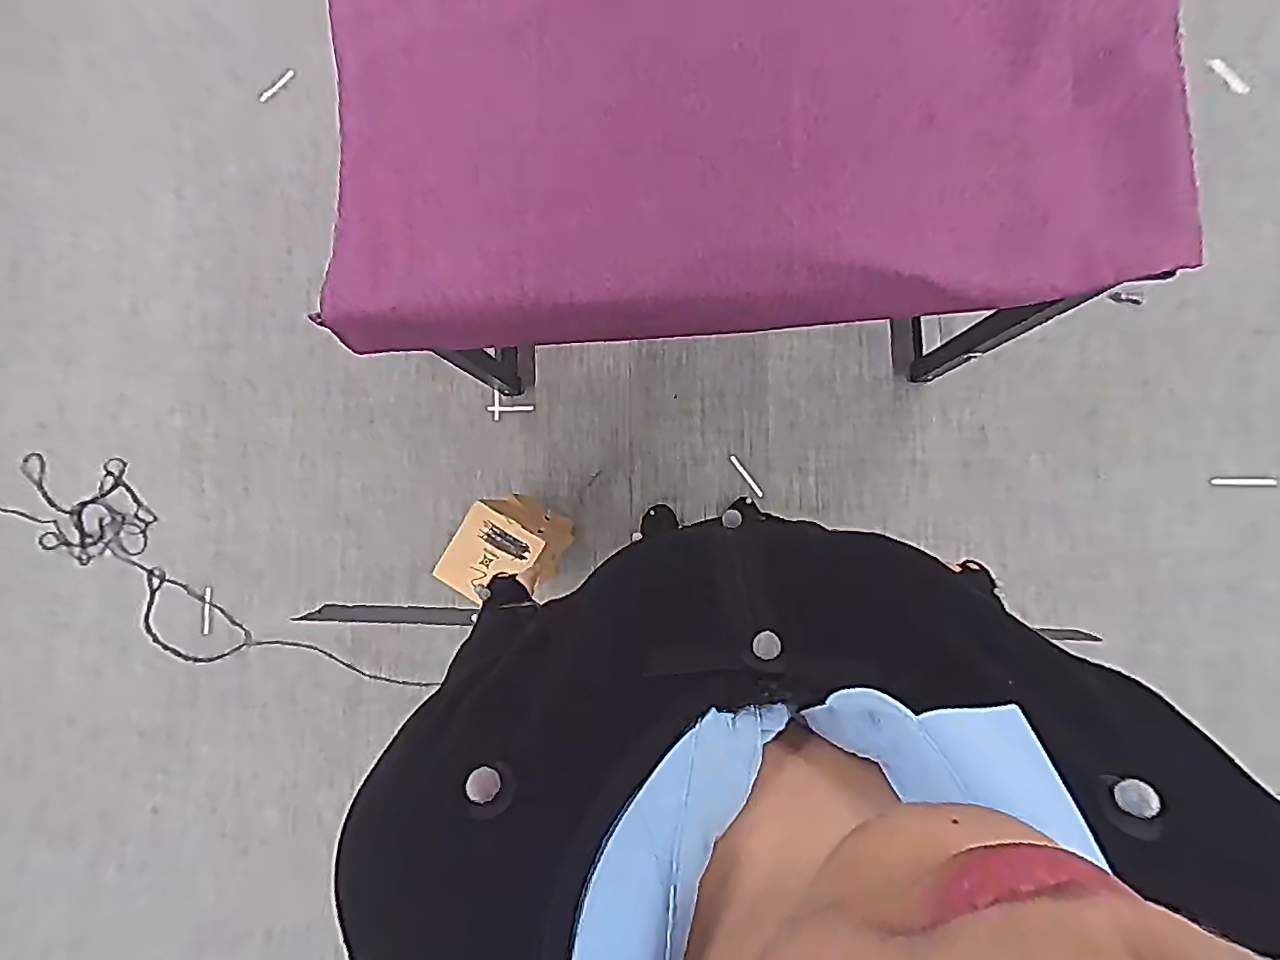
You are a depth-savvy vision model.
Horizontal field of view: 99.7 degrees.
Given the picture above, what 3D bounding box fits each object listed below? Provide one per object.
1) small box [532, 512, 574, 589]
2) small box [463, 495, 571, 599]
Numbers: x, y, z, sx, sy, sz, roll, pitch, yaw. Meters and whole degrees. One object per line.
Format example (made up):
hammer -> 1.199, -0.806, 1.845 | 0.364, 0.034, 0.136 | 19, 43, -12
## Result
small box -> -0.292, 0.173, 1.458 | 0.168, 0.176, 0.179 | 22, 89, 5
small box -> -0.282, 0.154, 1.293 | 0.168, 0.176, 0.179 | 43, 90, 5
